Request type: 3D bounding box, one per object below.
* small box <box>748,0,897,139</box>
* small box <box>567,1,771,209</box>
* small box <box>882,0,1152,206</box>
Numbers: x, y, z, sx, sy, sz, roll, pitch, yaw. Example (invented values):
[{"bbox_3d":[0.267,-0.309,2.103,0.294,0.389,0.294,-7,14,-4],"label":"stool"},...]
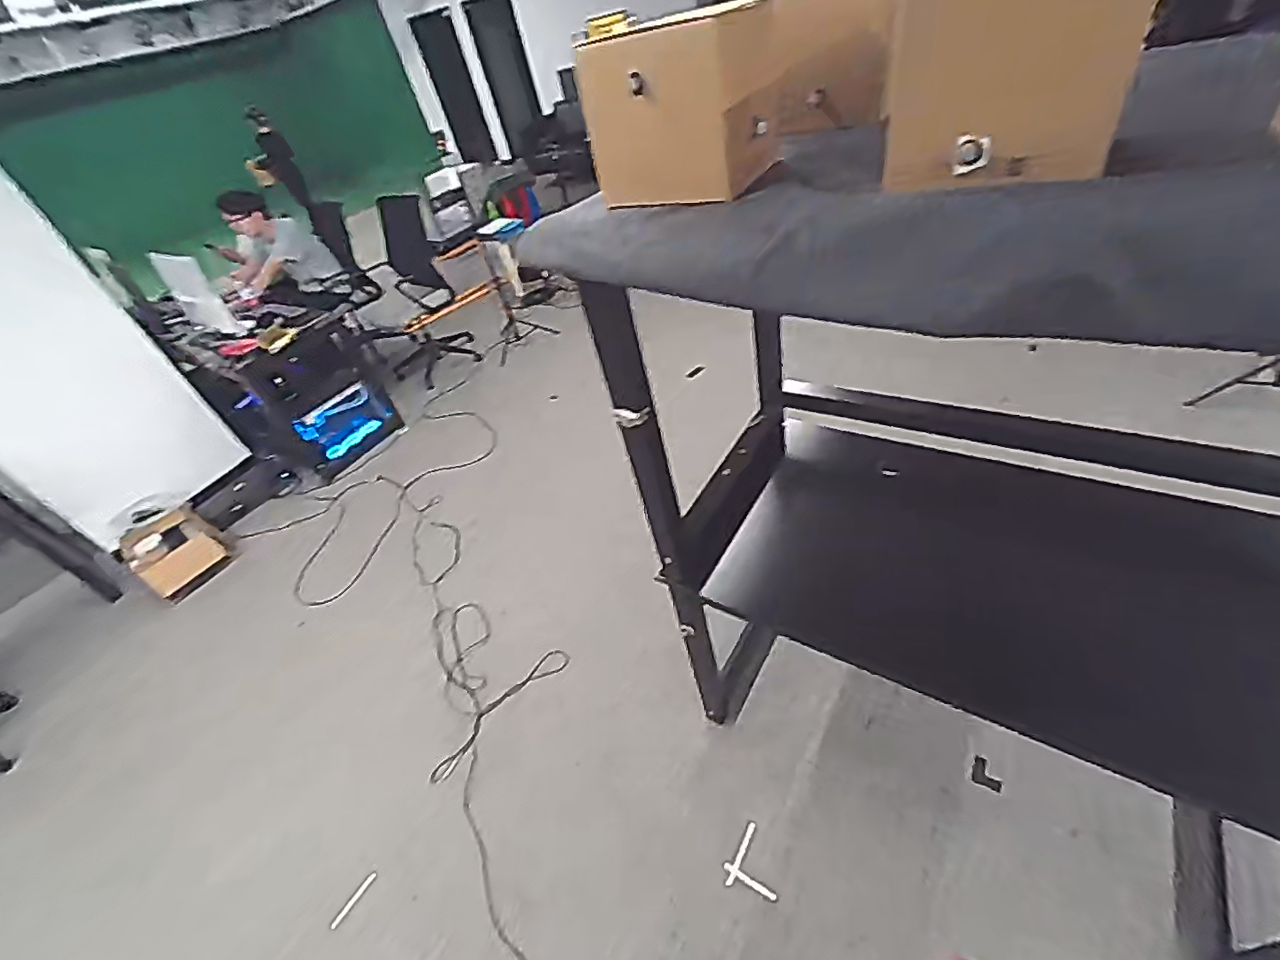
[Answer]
[{"bbox_3d":[0.269,-0.602,0.762,0.179,0.176,0.168,15,50,29],"label":"small box"},{"bbox_3d":[0.046,-0.437,0.646,0.179,0.176,0.168,13,48,28],"label":"small box"},{"bbox_3d":[0.321,-0.359,0.478,0.168,0.176,0.179,12,47,29],"label":"small box"}]
